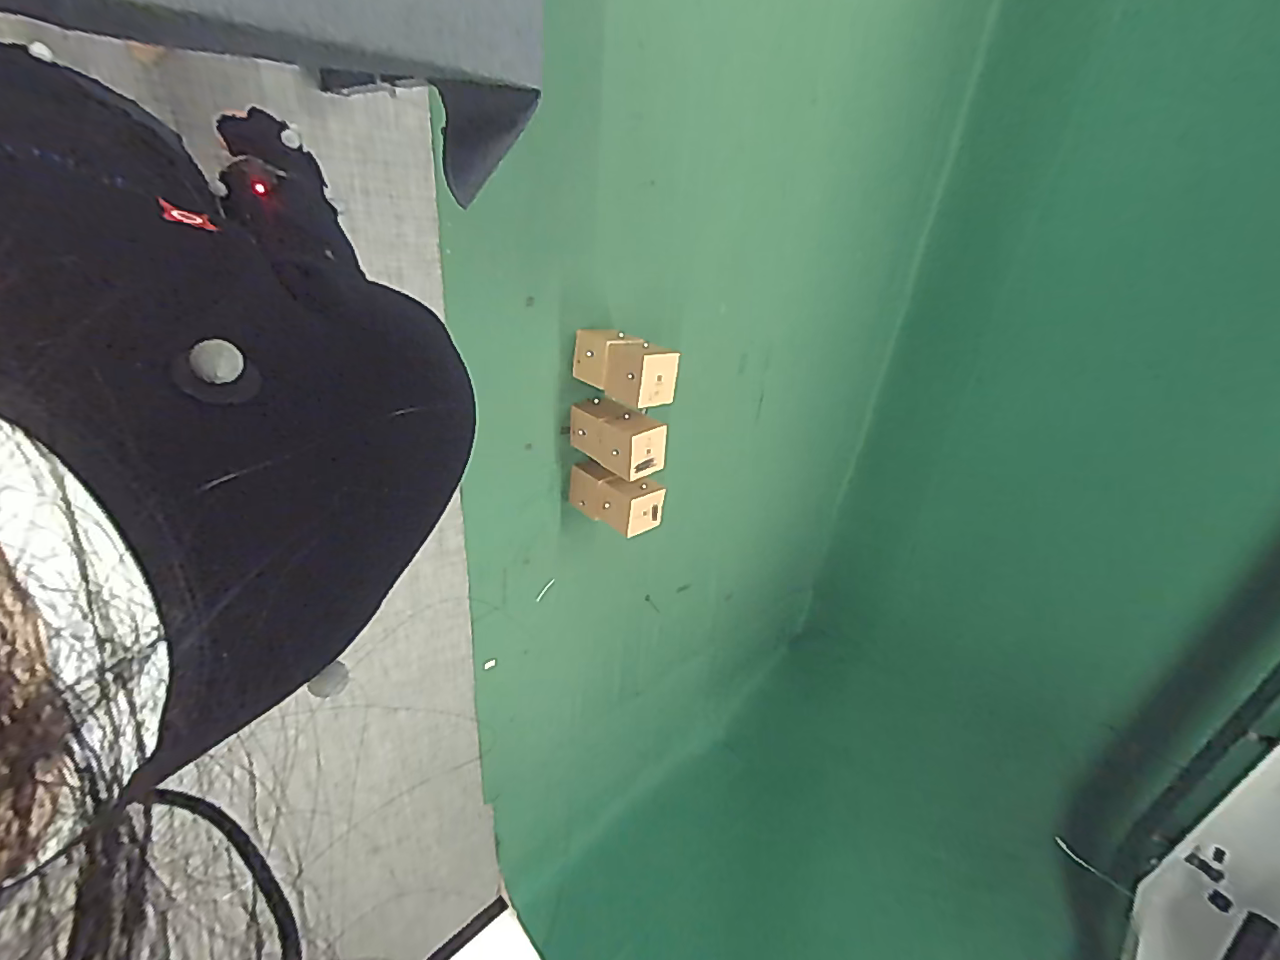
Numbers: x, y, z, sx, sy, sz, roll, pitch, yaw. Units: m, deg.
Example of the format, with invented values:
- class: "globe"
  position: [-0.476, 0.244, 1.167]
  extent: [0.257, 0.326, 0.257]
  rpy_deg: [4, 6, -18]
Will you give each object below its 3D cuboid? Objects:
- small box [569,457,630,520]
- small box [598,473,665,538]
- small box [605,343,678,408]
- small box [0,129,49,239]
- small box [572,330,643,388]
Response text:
- class: "small box"
  position: [-0.164, 0.031, 2.129]
  extent: [0.168, 0.176, 0.179]
  rpy_deg: [-17, 125, -42]
- class: "small box"
  position: [-0.035, 0.089, 2.044]
  extent: [0.179, 0.176, 0.168]
  rpy_deg: [-18, 127, -41]
- class: "small box"
  position: [0.001, -0.355, 1.797]
  extent: [0.168, 0.176, 0.179]
  rpy_deg: [-16, 124, -42]
- class: "small box"
  position: [-1.080, -0.486, 0.816]
  extent: [0.179, 0.176, 0.168]
  rpy_deg: [32, 100, -35]
- class: "small box"
  position: [-0.118, -0.425, 1.888]
  extent: [0.179, 0.176, 0.168]
  rpy_deg: [-15, 123, -43]
